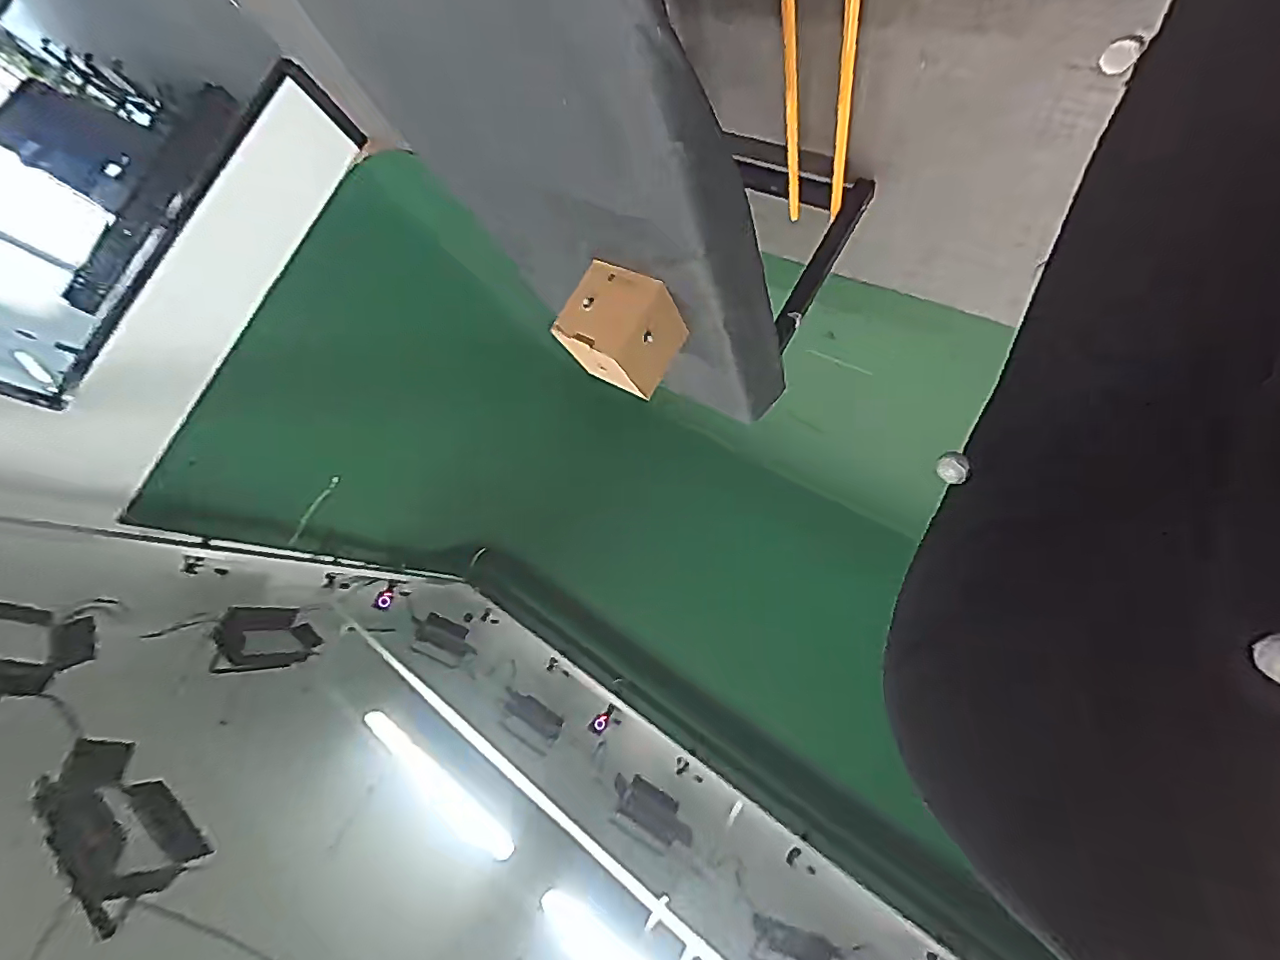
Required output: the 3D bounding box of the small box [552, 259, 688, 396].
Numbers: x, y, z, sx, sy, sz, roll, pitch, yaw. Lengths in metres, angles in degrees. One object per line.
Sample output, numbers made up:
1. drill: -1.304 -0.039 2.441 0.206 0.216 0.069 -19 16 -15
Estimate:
1. small box: -0.032 -0.297 1.054 0.168 0.176 0.179 30 177 27
